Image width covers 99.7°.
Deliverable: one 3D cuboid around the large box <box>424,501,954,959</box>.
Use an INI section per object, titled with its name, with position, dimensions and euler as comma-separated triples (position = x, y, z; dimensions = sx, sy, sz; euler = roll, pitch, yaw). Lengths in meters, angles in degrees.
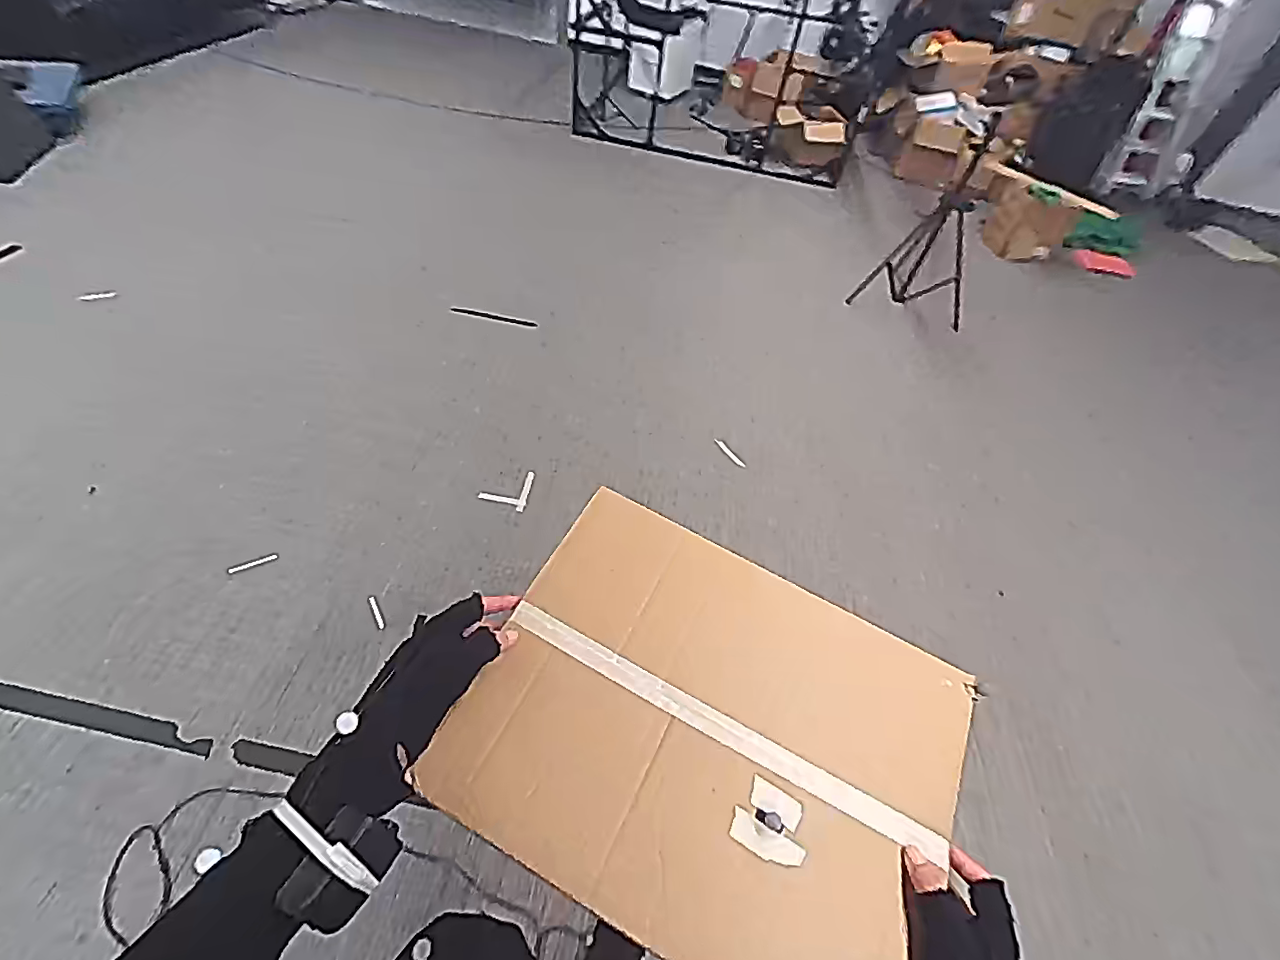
[large box]
position = 0.048, 0.293, 0.606
dimensions = 0.408, 0.320, 0.320
euler = 27, 60, 9
